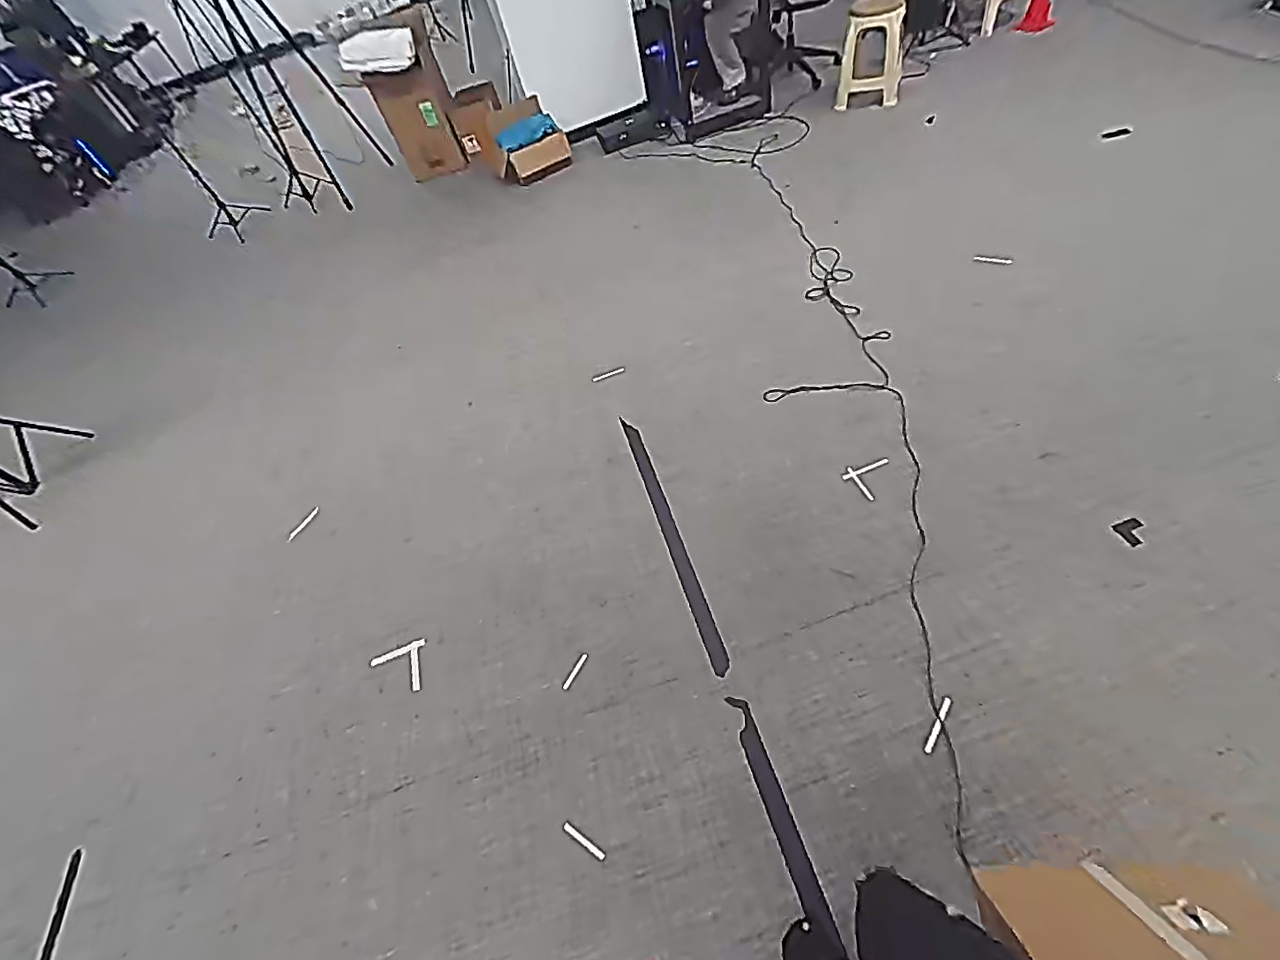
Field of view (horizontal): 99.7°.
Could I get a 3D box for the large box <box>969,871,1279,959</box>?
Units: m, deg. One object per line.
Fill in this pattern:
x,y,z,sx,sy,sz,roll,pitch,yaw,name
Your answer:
0.624,0.687,0.564,0.320,0.408,0.320,-8,78,10,large box
